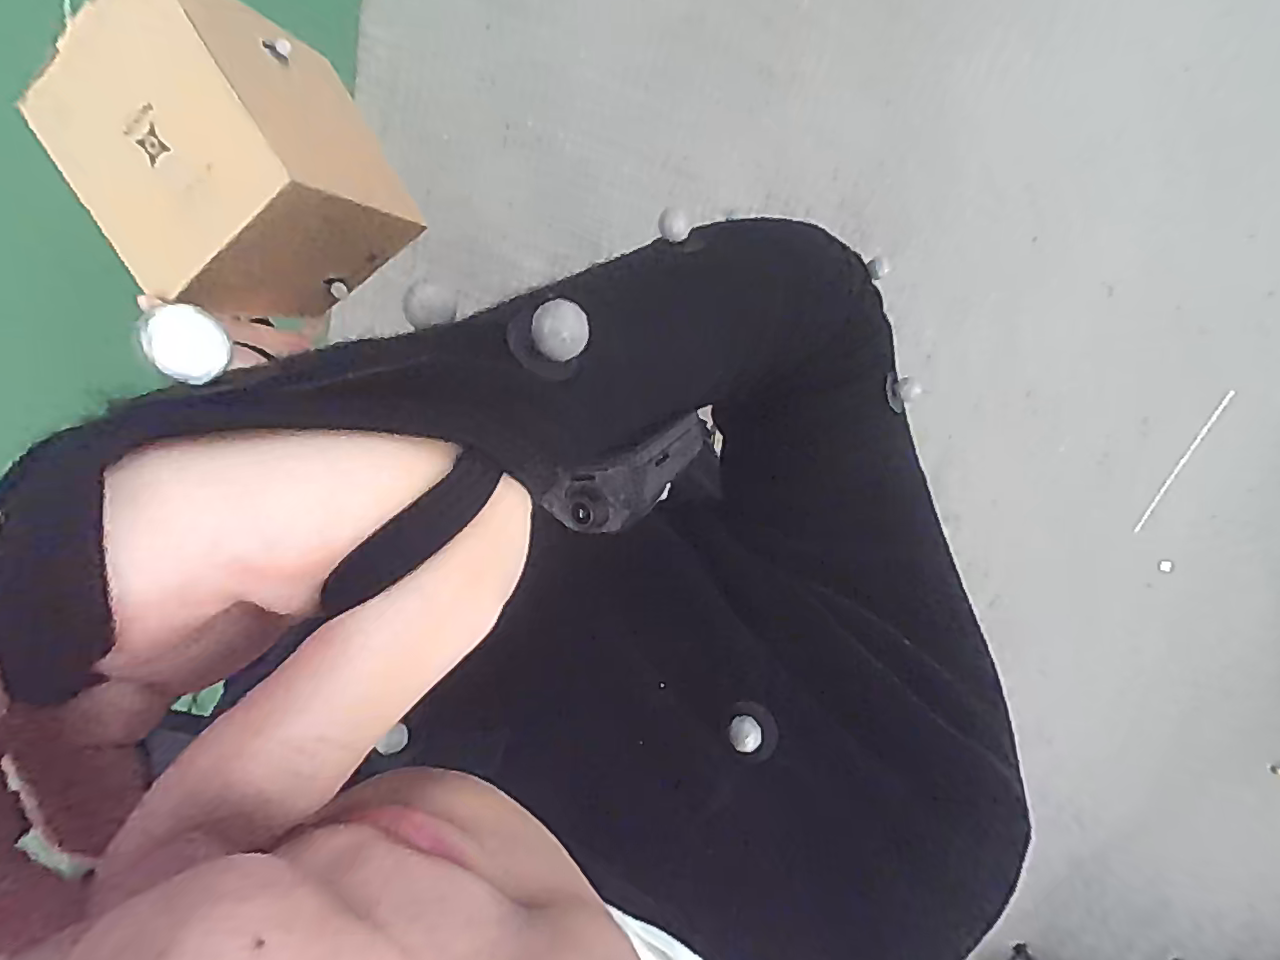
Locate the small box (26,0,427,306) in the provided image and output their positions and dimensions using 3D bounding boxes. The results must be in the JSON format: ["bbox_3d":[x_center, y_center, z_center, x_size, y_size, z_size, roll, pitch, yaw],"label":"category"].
[{"bbox_3d":[-0.327,-0.267,0.462,0.168,0.176,0.179,-28,98,17],"label":"small box"}]
